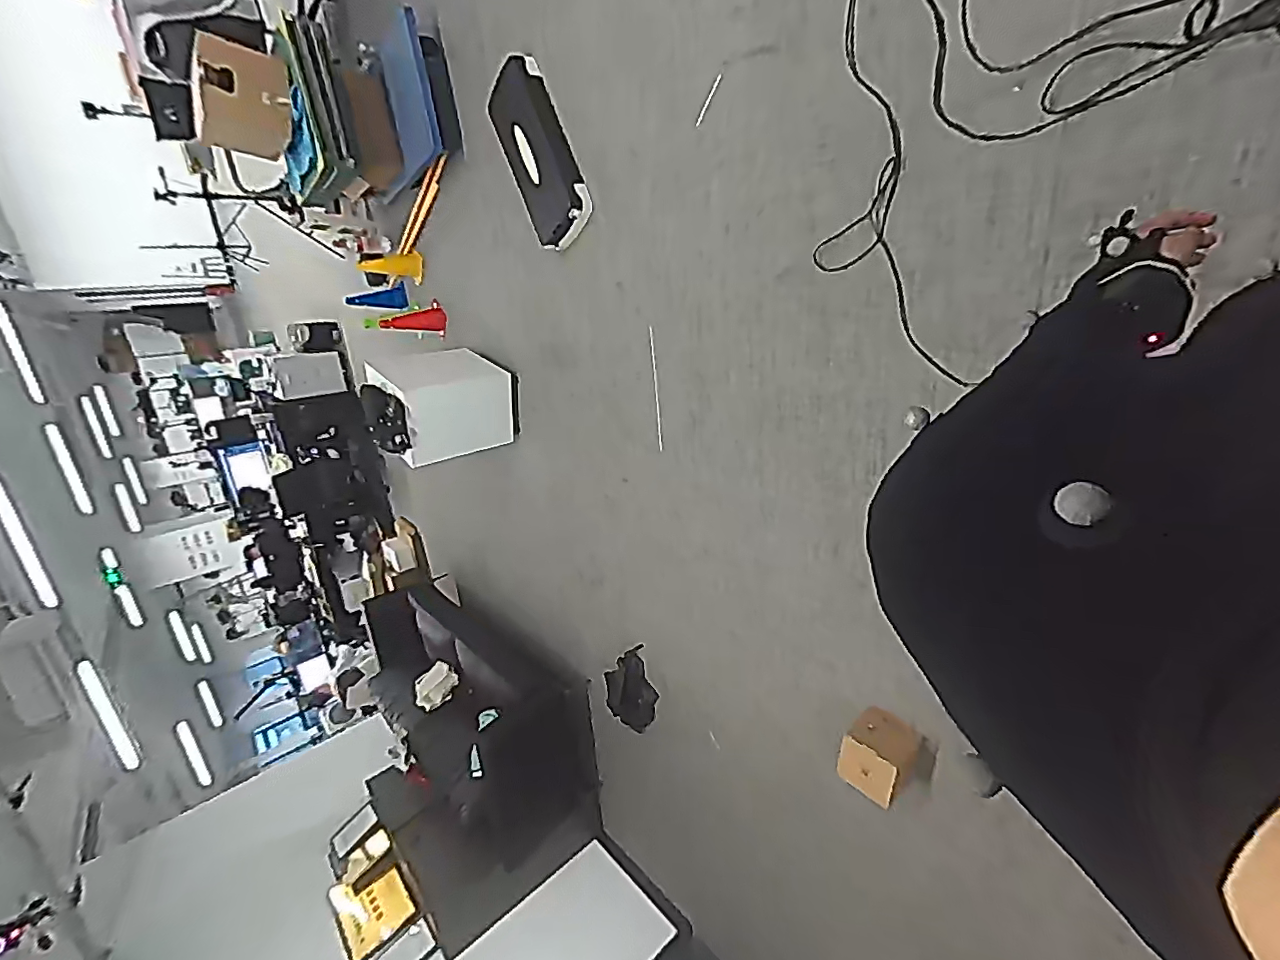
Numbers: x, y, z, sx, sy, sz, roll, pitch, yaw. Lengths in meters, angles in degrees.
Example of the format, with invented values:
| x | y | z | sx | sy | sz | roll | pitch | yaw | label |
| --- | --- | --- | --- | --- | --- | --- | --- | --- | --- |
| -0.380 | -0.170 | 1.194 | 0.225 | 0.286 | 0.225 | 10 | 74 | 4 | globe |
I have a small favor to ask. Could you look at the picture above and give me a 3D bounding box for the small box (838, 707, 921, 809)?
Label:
| x | y | z | sx | sy | sz | roll | pitch | yaw | label |
| --- | --- | --- | --- | --- | --- | --- | --- | --- | --- |
| 0.722 | 0.825 | 1.627 | 0.168 | 0.176 | 0.179 | 22 | 123 | 45 | small box |
